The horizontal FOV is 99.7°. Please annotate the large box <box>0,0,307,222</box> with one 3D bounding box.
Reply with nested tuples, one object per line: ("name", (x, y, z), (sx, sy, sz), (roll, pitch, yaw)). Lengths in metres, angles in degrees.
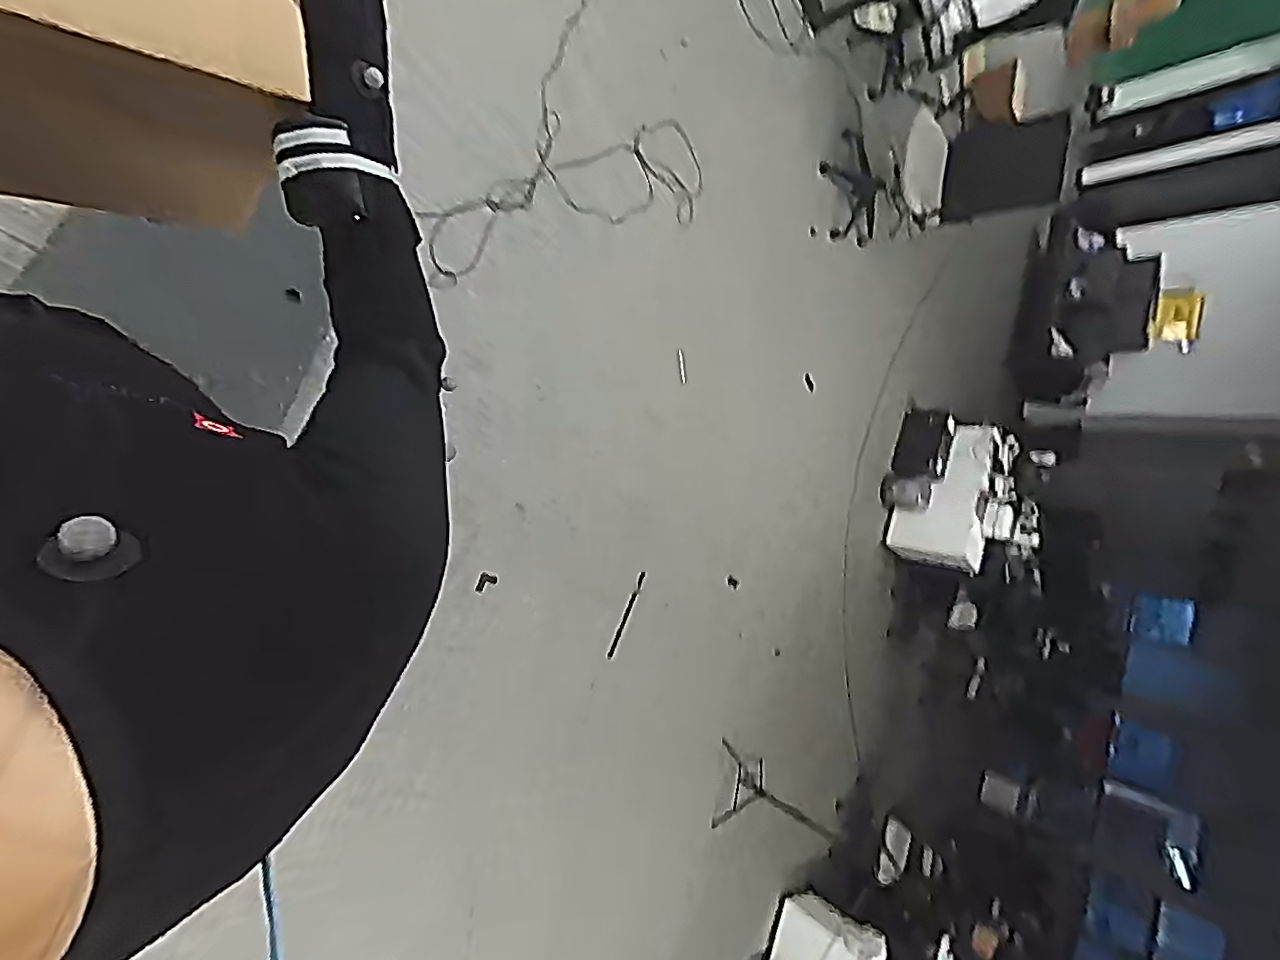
("large box", (-0.493, -0.401, 0.339), (0.408, 0.320, 0.320), (-9, 99, -44))
